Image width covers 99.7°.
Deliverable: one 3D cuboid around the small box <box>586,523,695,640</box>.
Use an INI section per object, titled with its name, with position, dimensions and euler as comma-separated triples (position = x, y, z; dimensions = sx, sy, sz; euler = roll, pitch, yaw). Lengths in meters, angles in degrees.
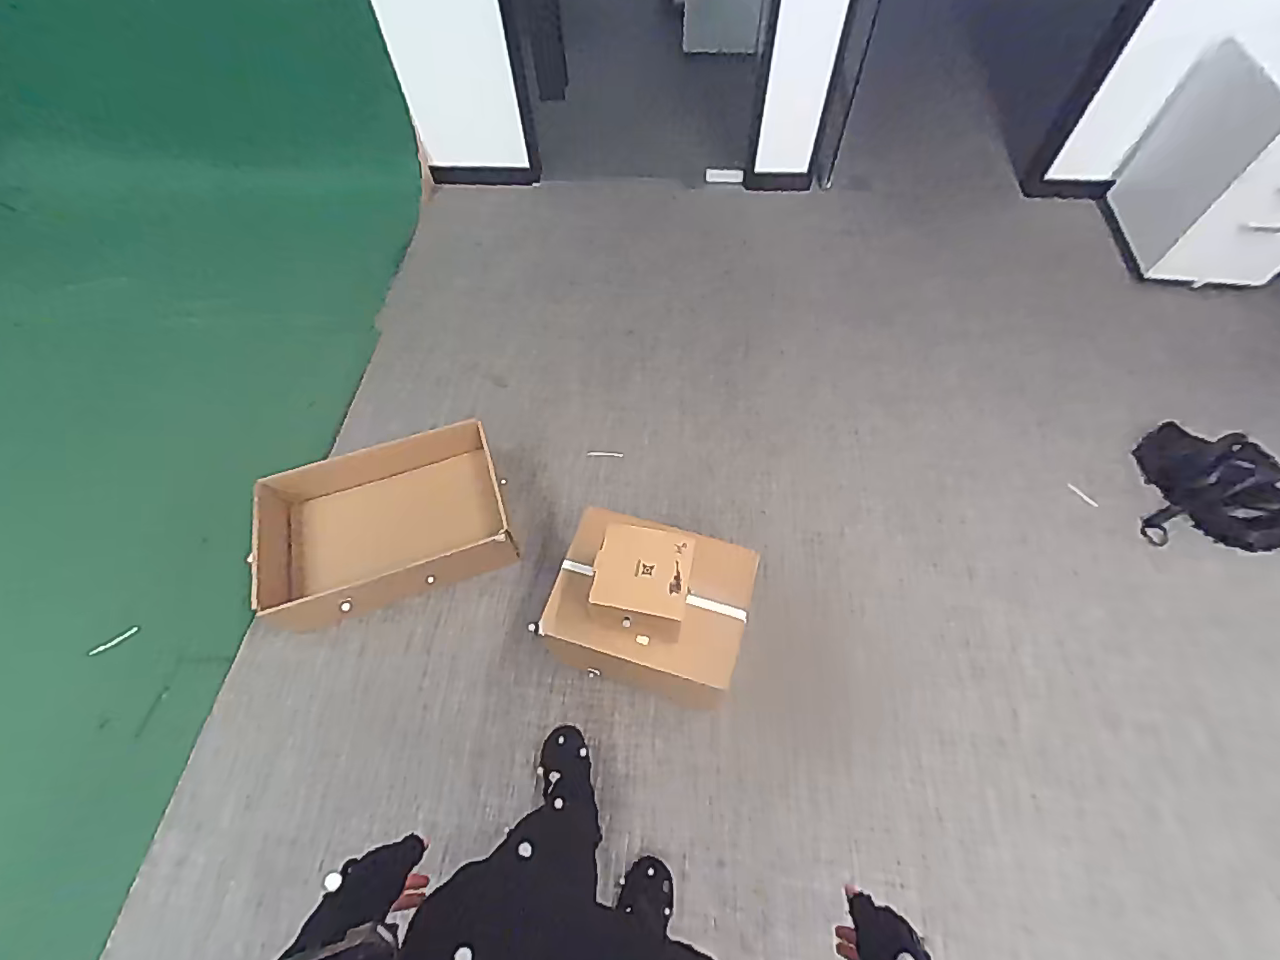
[small box]
position = 0.007, 0.205, 1.069
dimensions = 0.179, 0.176, 0.168
euler = 9, 61, 7
